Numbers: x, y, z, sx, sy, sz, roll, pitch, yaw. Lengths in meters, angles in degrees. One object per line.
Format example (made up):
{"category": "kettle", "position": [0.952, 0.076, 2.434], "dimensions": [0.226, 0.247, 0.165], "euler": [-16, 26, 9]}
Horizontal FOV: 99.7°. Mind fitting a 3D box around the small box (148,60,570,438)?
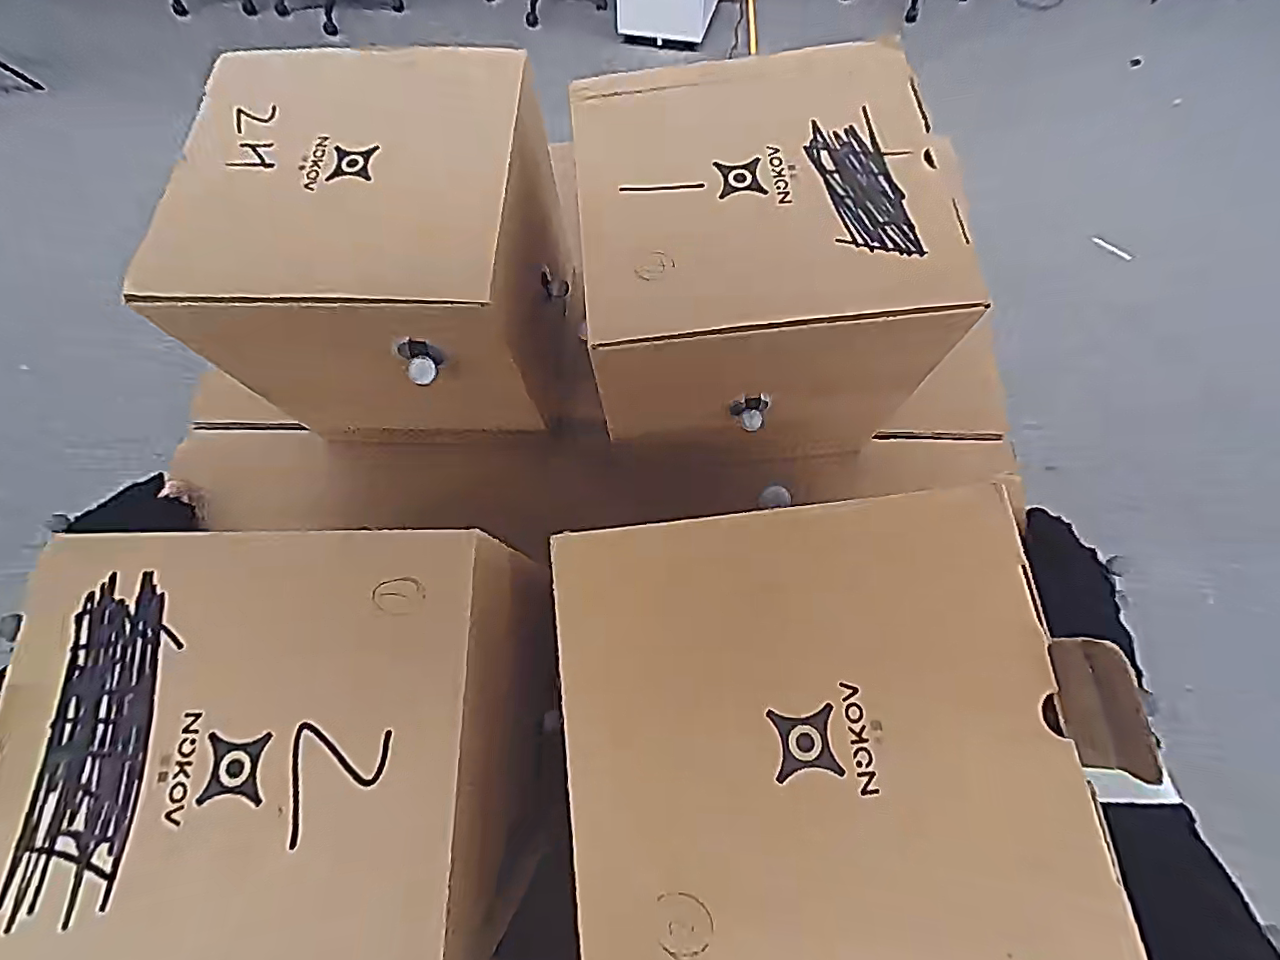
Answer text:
{"category": "small box", "position": [-0.149, -0.136, 0.363], "dimensions": [0.179, 0.176, 0.168], "euler": [2, 70, 4]}
